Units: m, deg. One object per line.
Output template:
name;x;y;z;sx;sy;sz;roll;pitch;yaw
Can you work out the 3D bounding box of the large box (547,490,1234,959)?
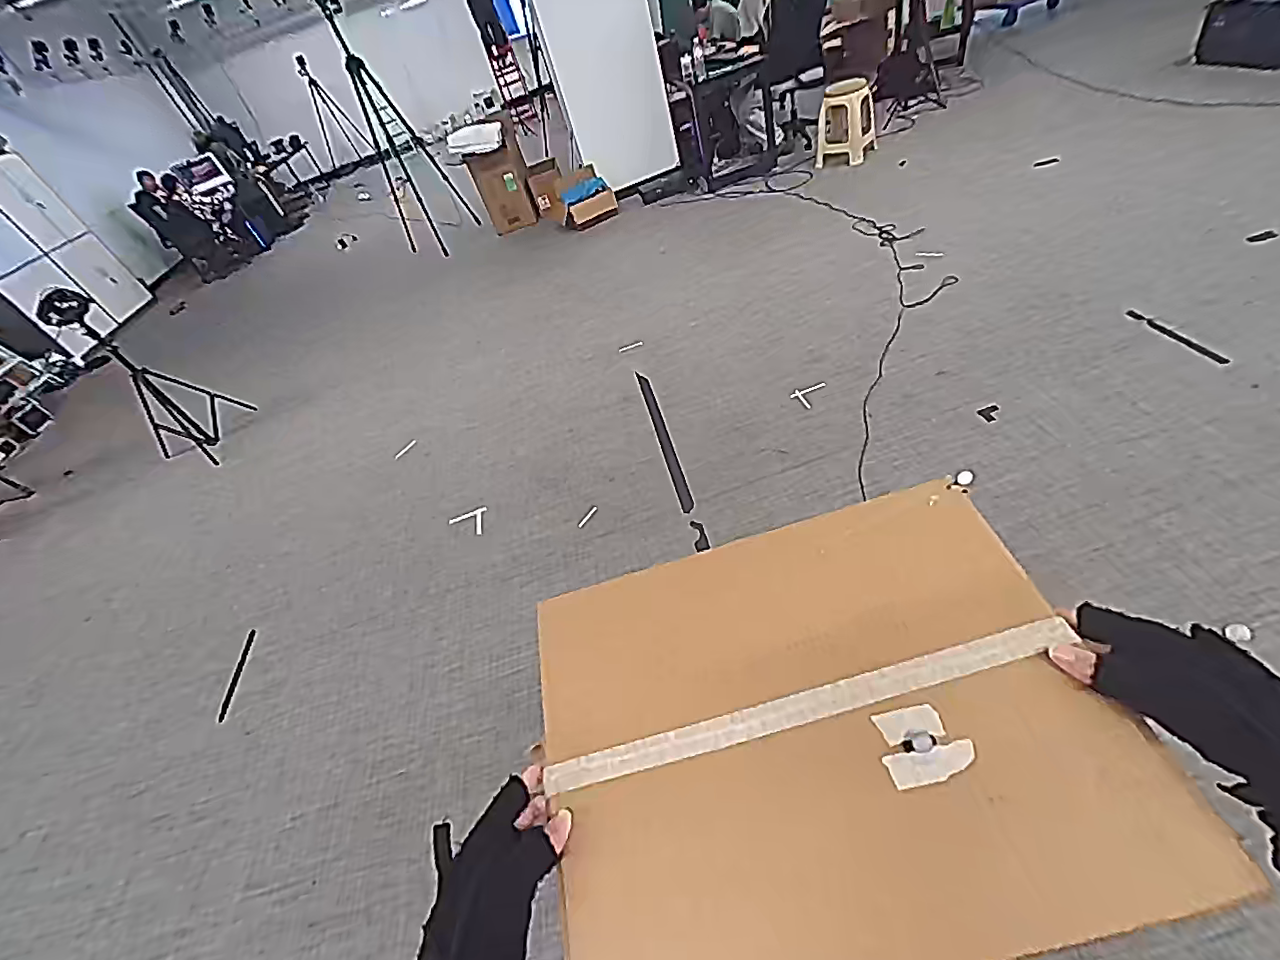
large box;0.162;0.273;0.528;0.408;0.320;0.320;-18;49;3
